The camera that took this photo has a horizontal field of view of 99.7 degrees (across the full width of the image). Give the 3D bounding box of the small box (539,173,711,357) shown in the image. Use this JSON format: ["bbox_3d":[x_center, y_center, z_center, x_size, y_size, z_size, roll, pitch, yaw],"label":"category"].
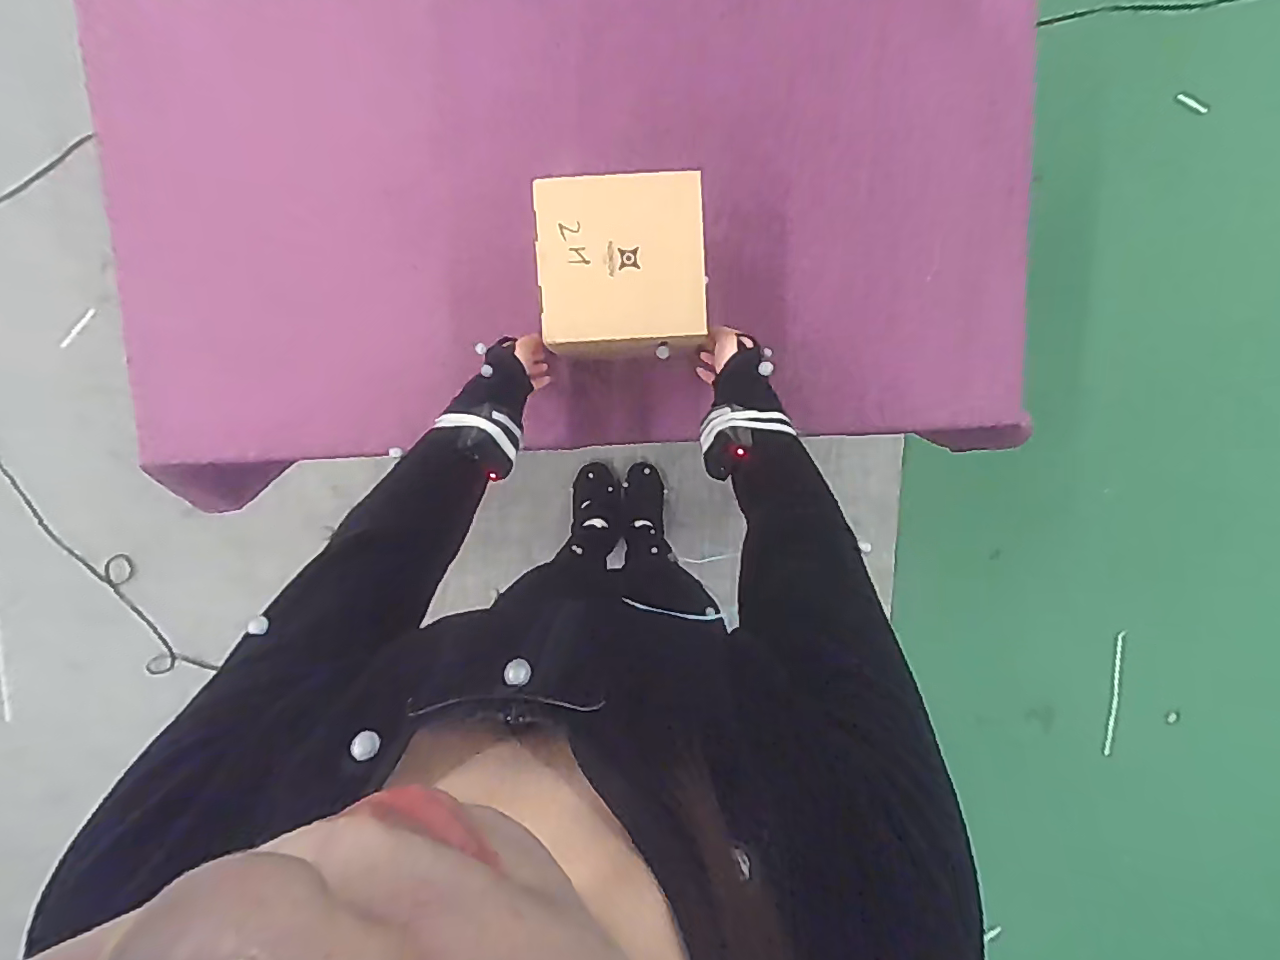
[{"bbox_3d":[-0.015,-0.241,0.643,0.179,0.176,0.168,-3,96,1],"label":"small box"}]
